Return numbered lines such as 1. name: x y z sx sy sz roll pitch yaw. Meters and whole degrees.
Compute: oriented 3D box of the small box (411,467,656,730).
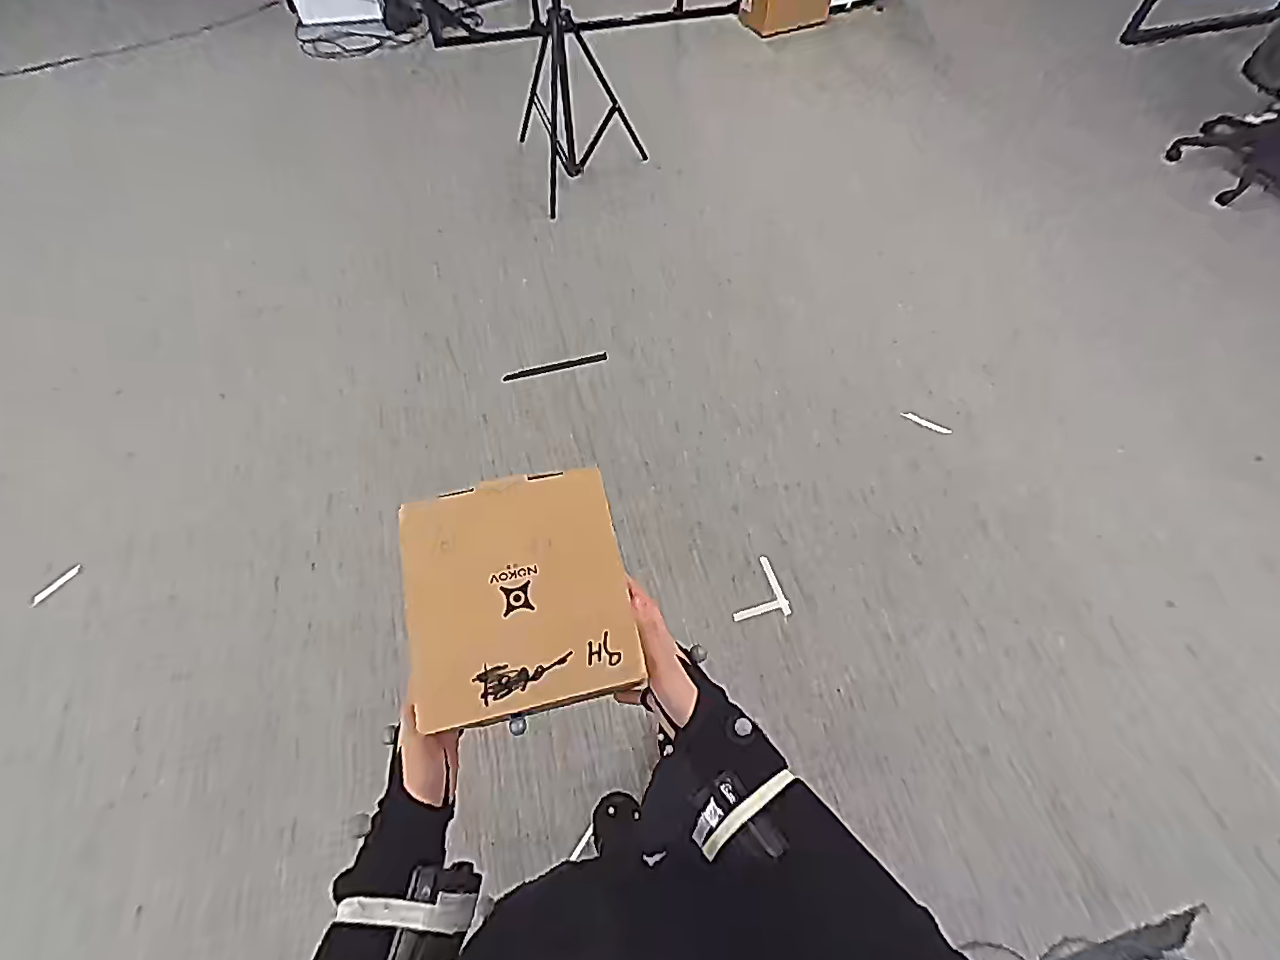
1. small box: -0.091 0.112 0.484 0.168 0.176 0.179 -12 68 -8
